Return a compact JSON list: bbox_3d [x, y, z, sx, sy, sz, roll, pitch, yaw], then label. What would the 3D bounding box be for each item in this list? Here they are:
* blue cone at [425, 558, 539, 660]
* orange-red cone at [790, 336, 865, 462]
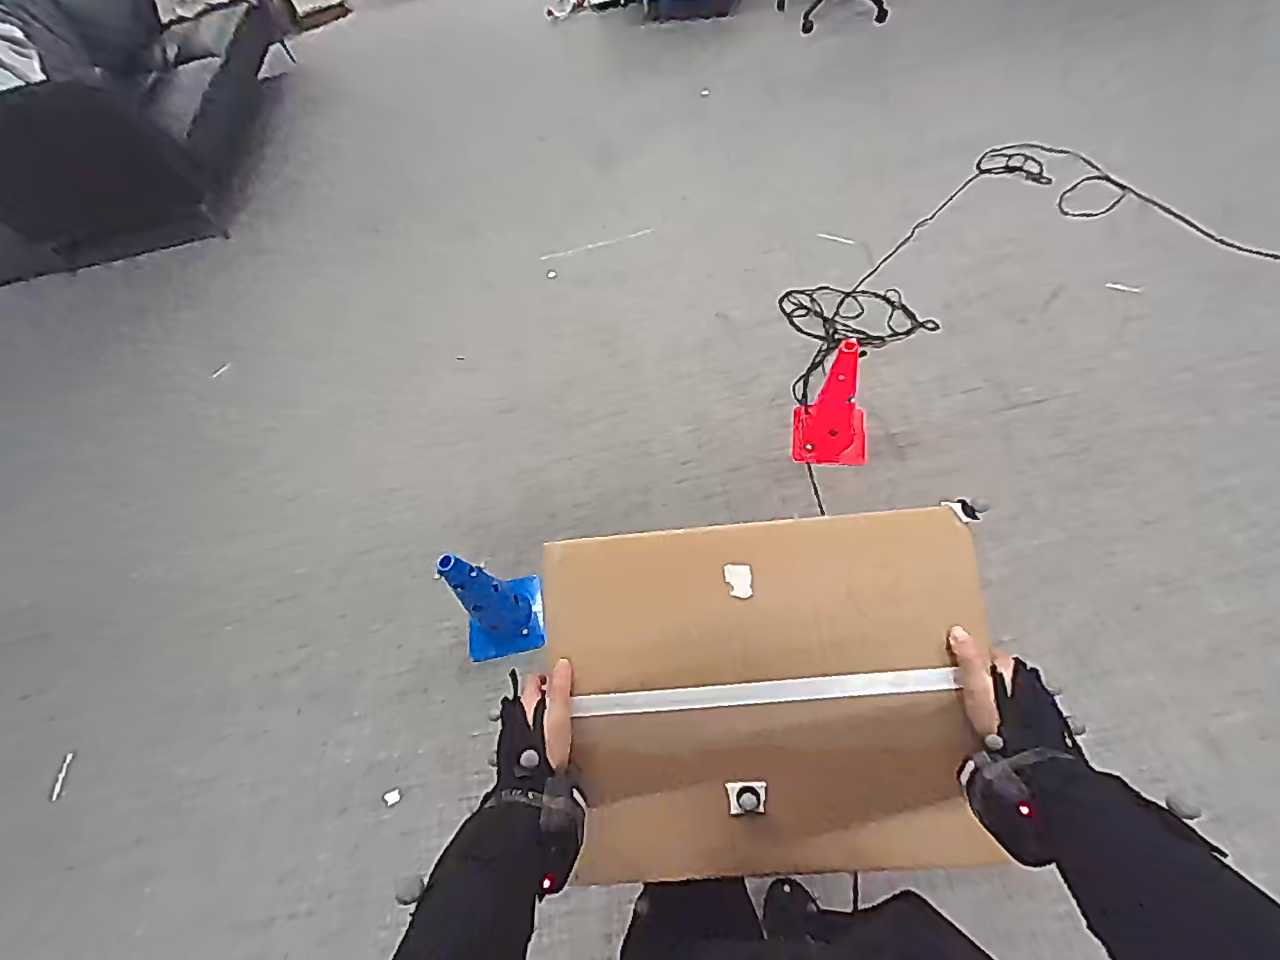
[{"bbox_3d":[-0.384,0.271,1.265,0.192,0.380,0.193,-13,56,3],"label":"blue cone"},{"bbox_3d":[0.507,-0.227,1.388,0.199,0.360,0.198,5,60,13],"label":"orange-red cone"}]
